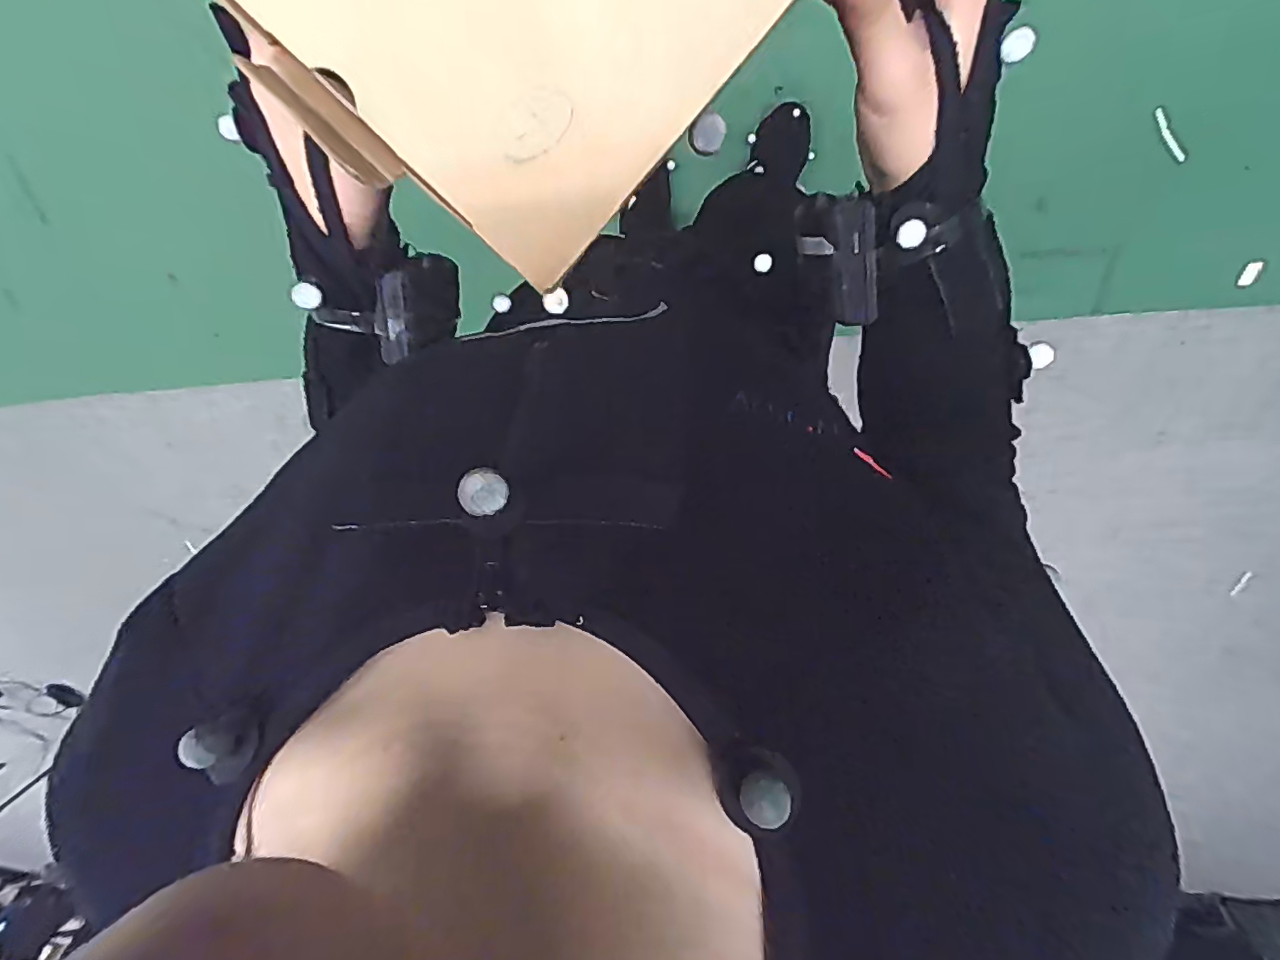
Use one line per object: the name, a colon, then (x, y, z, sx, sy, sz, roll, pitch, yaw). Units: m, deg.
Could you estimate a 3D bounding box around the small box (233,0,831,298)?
small box: (-0.021, -0.208, 0.205, 0.168, 0.176, 0.179, 40, 120, -19)
